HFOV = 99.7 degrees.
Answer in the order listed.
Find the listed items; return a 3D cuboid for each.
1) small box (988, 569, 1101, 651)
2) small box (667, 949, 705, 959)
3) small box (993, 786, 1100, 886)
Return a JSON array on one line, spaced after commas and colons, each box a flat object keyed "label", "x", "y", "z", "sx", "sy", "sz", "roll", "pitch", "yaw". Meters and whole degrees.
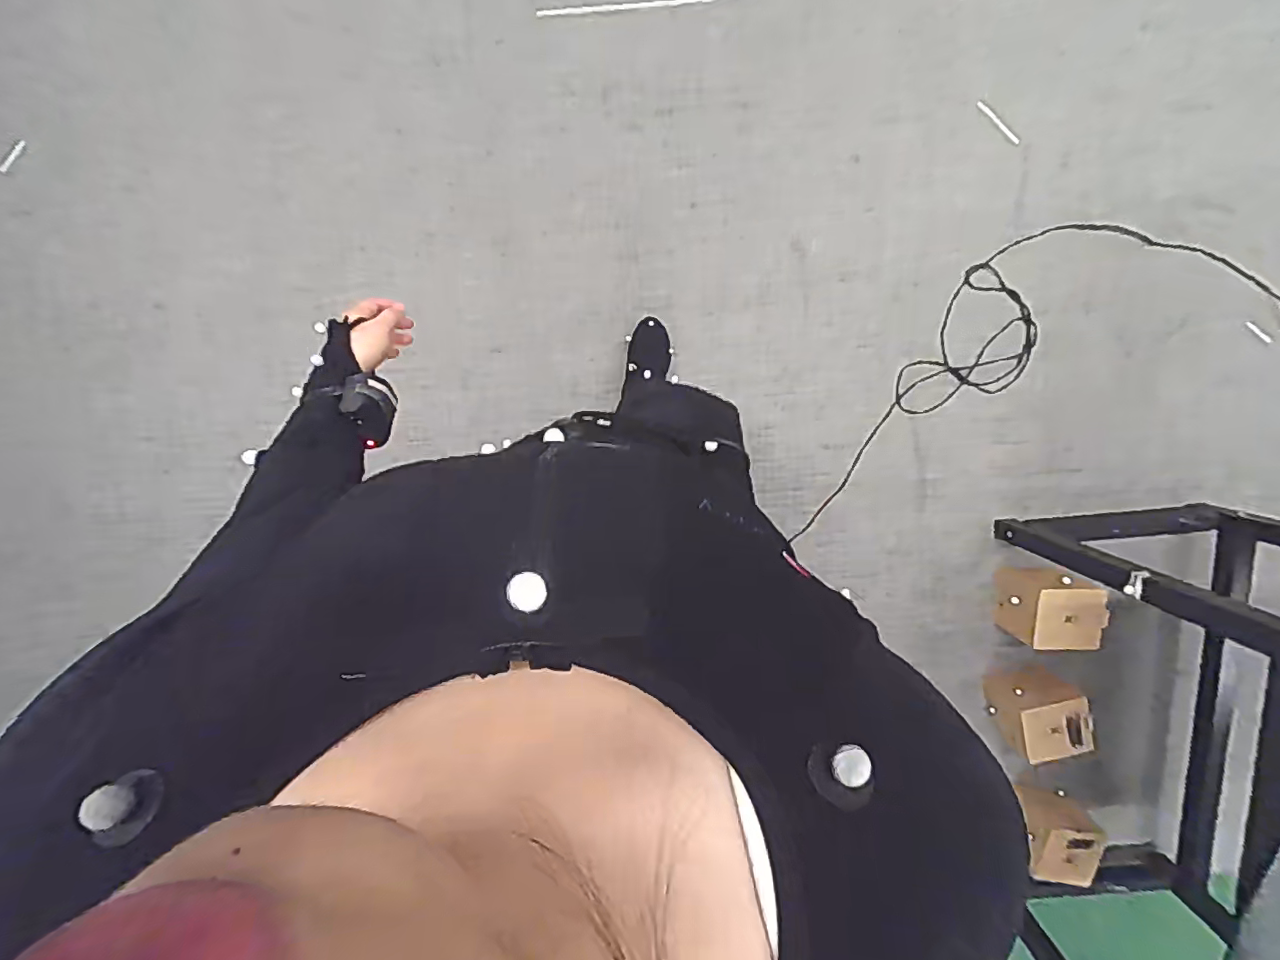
[{"label": "small box", "x": 1.081, "y": 0.346, "z": 1.460, "sx": 0.179, "sy": 0.176, "sz": 0.168, "roll": 0, "pitch": 100, "yaw": -1}, {"label": "small box", "x": 0.147, "y": 1.624, "z": 1.686, "sx": 0.179, "sy": 0.176, "sz": 0.168, "roll": 30, "pitch": 100, "yaw": -6}, {"label": "small box", "x": 1.178, "y": 1.035, "z": 1.583, "sx": 0.168, "sy": 0.176, "sz": 0.179, "roll": 9, "pitch": 102, "yaw": -2}]
